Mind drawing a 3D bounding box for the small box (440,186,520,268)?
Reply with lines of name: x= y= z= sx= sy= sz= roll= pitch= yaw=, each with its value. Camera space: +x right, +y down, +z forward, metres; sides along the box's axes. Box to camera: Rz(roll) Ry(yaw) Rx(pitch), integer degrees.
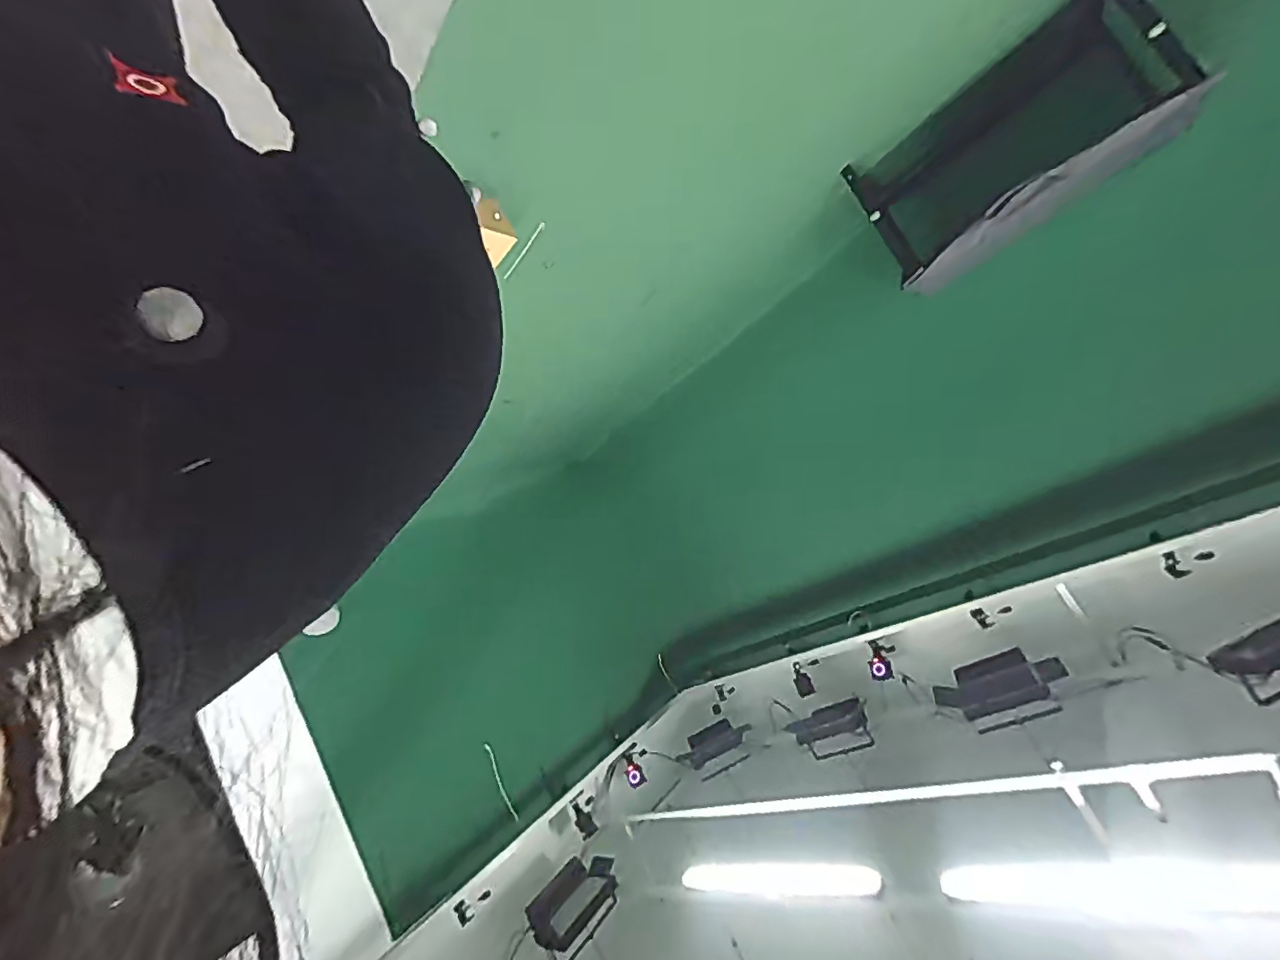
small box: x=-0.550 y=-0.860 z=1.841 sx=0.179 sy=0.176 sz=0.168 roll=-34 pitch=170 yaw=33
